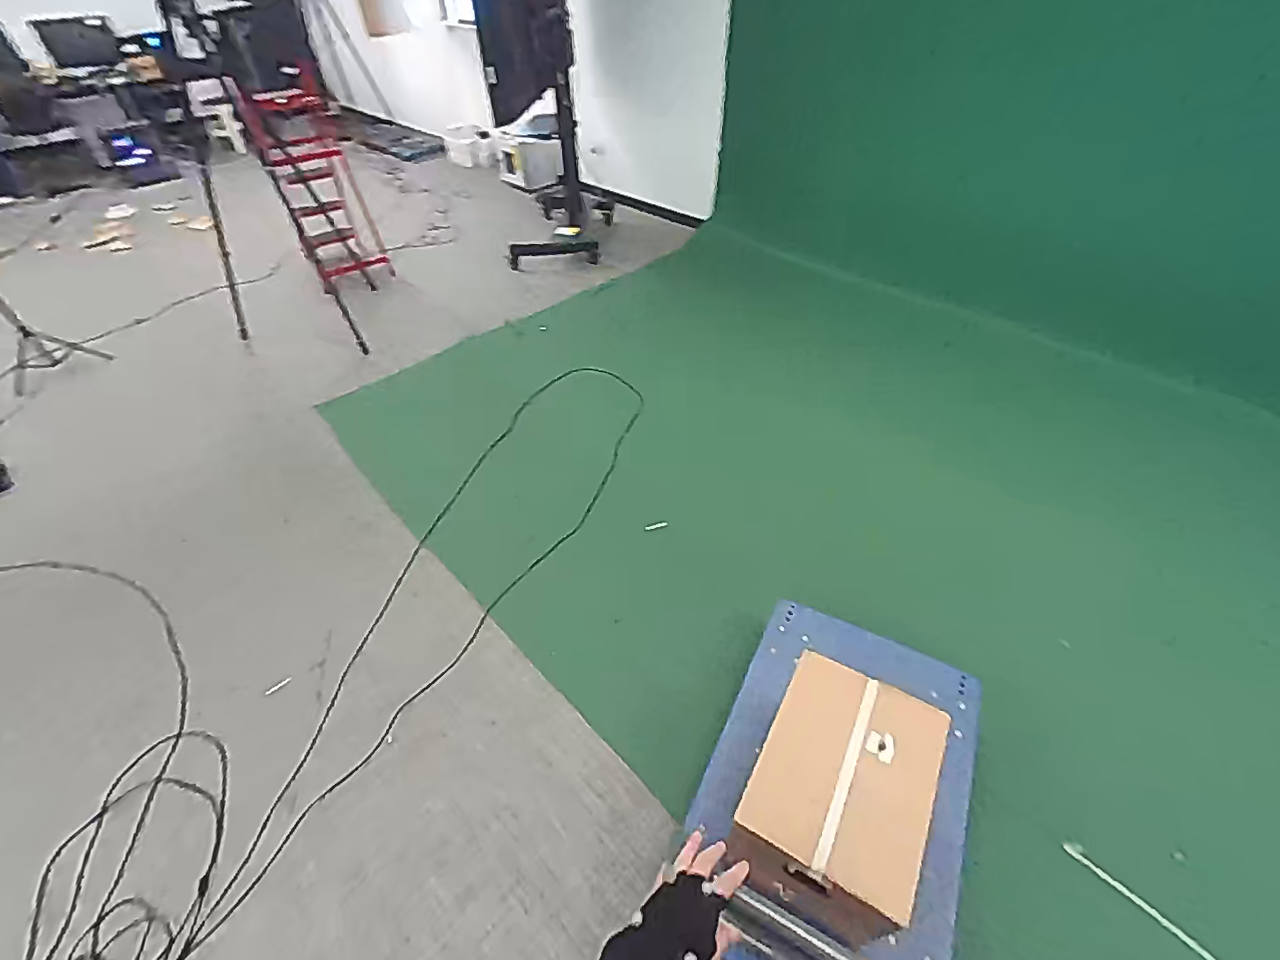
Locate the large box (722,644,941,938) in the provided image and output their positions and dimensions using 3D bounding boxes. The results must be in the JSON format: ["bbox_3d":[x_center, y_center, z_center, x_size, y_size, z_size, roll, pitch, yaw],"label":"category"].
[{"bbox_3d":[0.401,0.652,1.163,0.320,0.320,0.408,23,50,22],"label":"large box"}]
